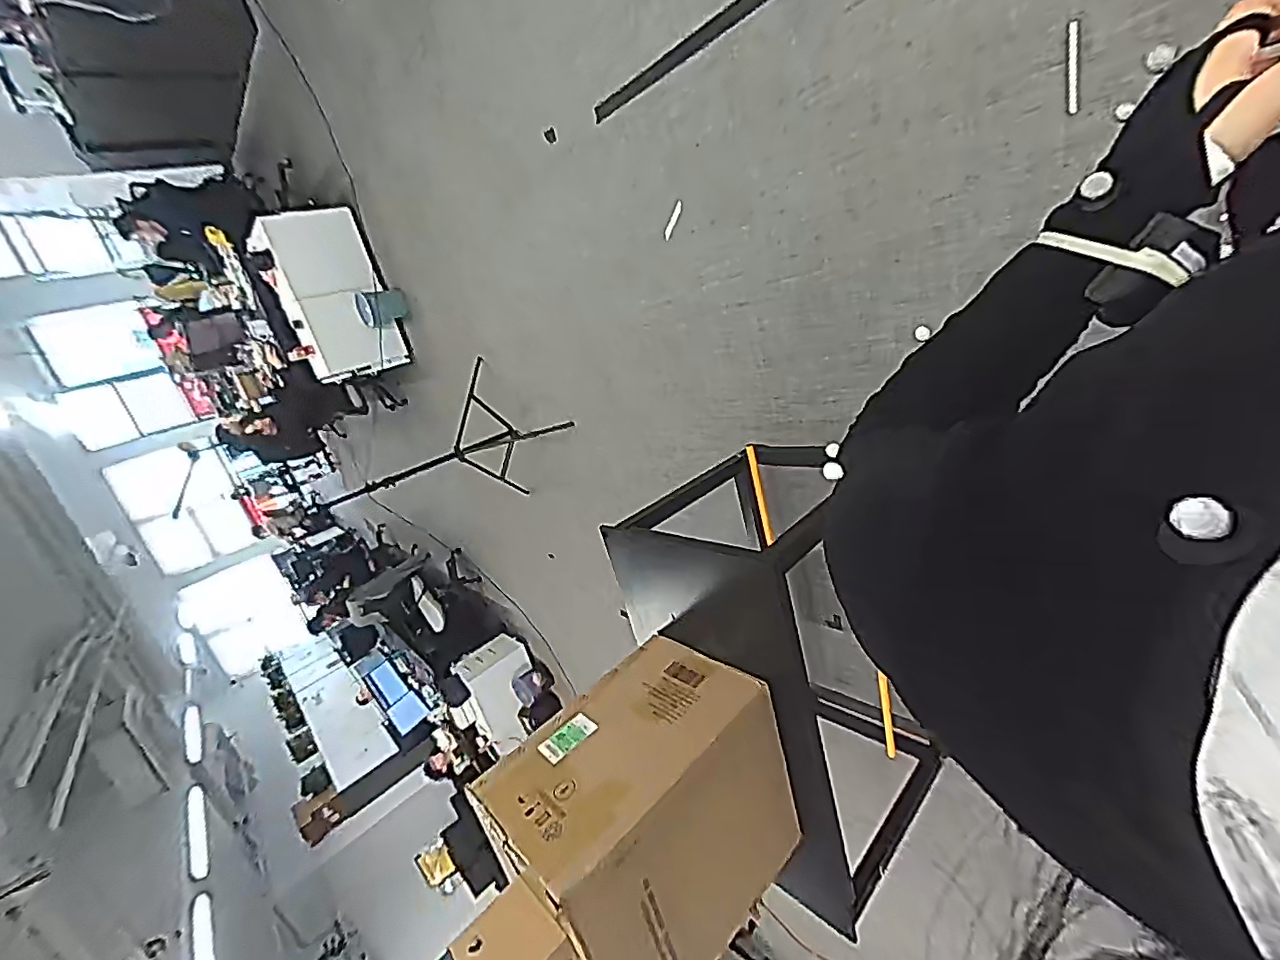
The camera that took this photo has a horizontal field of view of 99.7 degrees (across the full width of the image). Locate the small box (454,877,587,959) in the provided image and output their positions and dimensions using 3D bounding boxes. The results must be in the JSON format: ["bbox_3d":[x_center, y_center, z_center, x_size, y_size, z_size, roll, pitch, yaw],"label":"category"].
[{"bbox_3d":[-0.217,0.907,1.025,0.179,0.176,0.168,10,123,47],"label":"small box"}]
